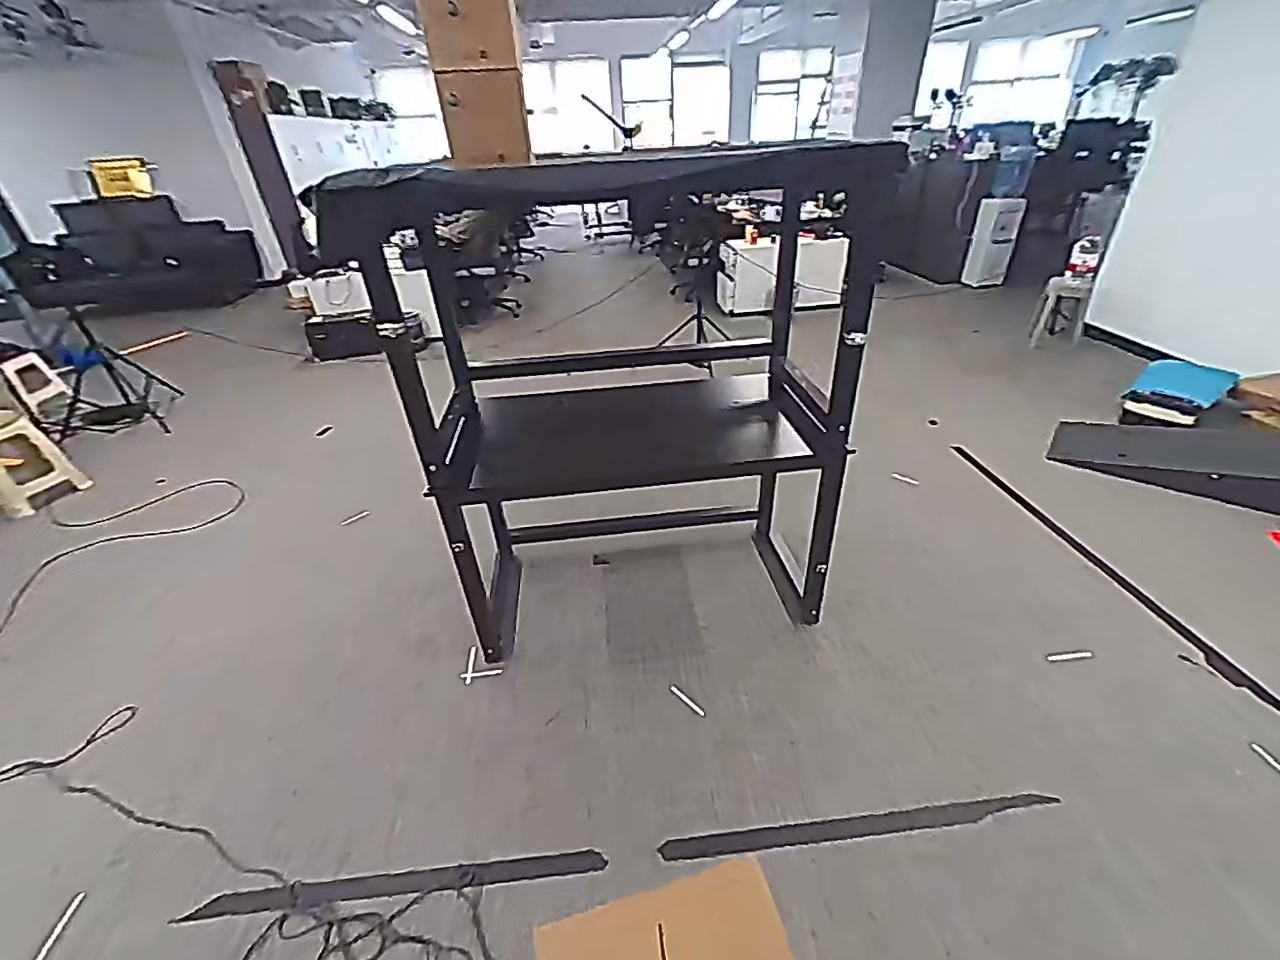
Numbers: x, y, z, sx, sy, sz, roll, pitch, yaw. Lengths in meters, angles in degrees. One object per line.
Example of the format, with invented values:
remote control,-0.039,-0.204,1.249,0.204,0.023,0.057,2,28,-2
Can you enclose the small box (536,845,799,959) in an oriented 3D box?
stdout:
small box,0.034,0.395,0.366,0.168,0.176,0.179,-13,38,-8

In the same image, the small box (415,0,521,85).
small box,-0.332,-0.892,1.059,0.168,0.176,0.179,-6,31,-4
